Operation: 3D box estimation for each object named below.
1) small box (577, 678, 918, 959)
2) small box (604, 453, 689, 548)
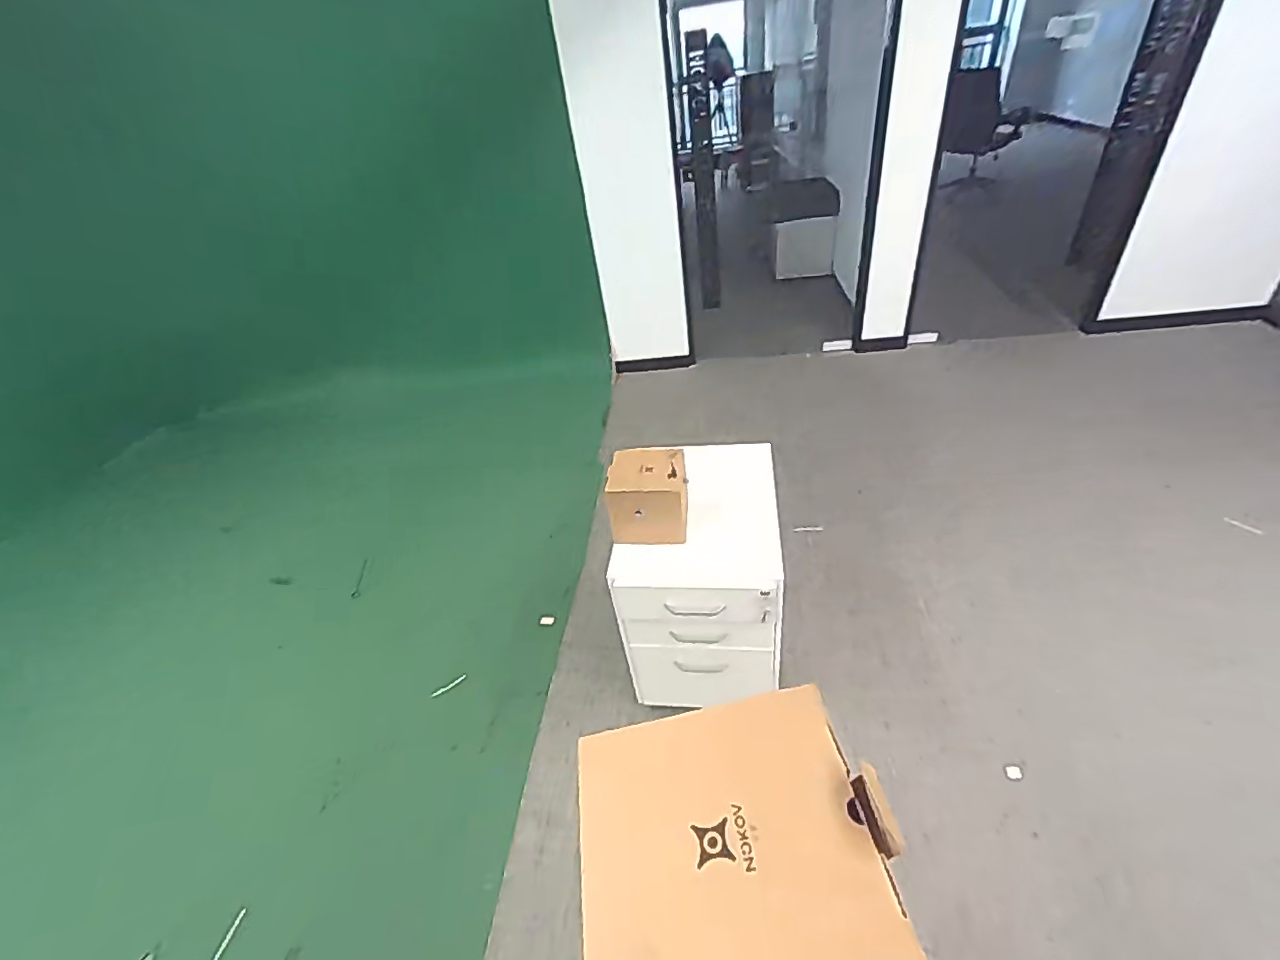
[{"bbox_3d":[0.065,0.272,0.376,0.179,0.176,0.168,-14,38,3],"label":"small box"},{"bbox_3d":[0.023,0.051,1.312,0.179,0.176,0.168,-1,38,10],"label":"small box"}]
